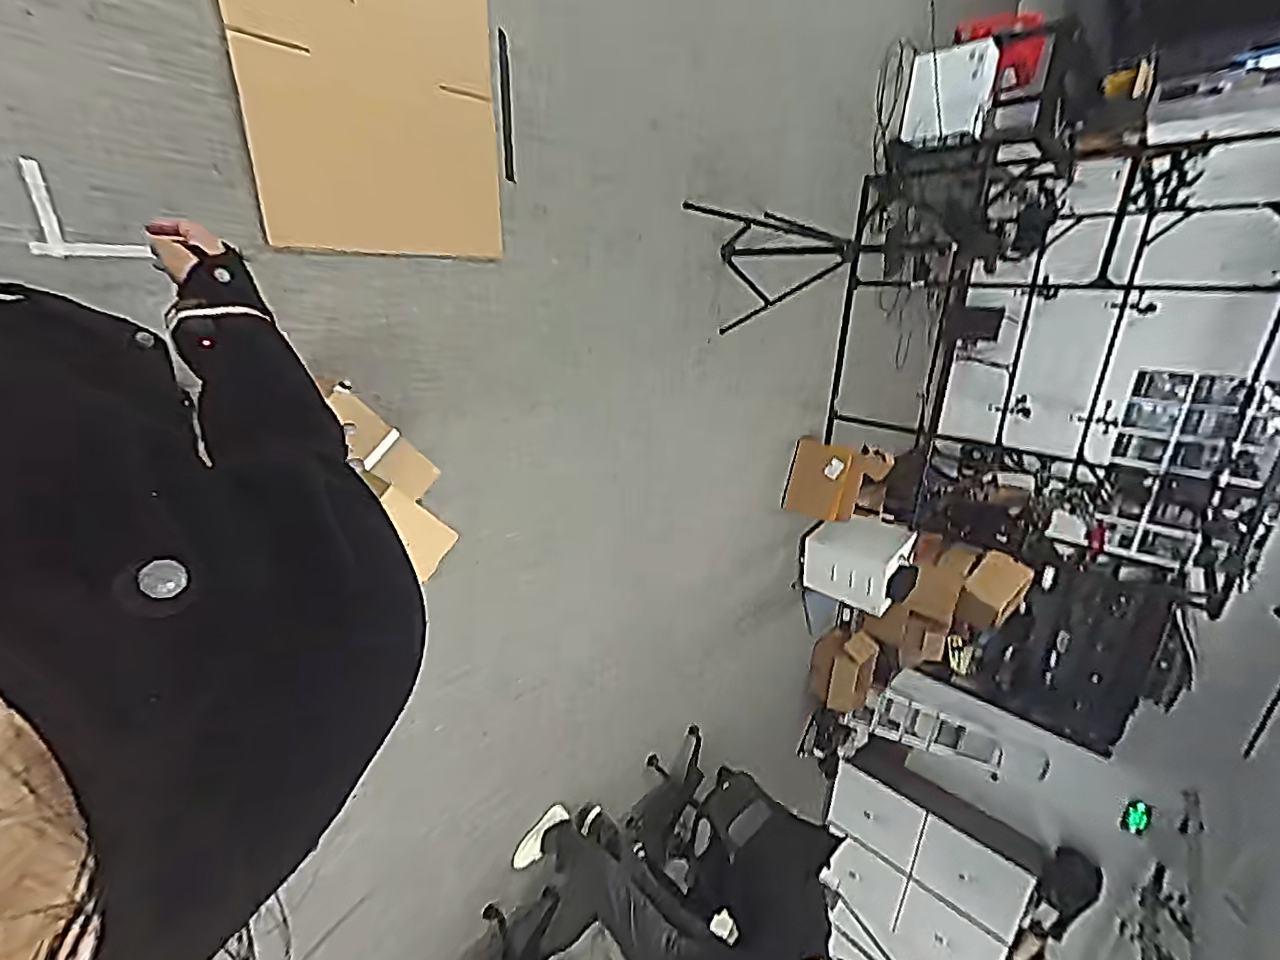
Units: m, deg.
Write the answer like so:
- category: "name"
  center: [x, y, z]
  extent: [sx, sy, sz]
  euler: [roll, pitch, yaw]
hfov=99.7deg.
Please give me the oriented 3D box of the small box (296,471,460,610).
- category: "small box"
  center: [-0.477, 0.104, 0.988]
  extent: [0.168, 0.176, 0.179]
  euler: [-56, 138, -18]
